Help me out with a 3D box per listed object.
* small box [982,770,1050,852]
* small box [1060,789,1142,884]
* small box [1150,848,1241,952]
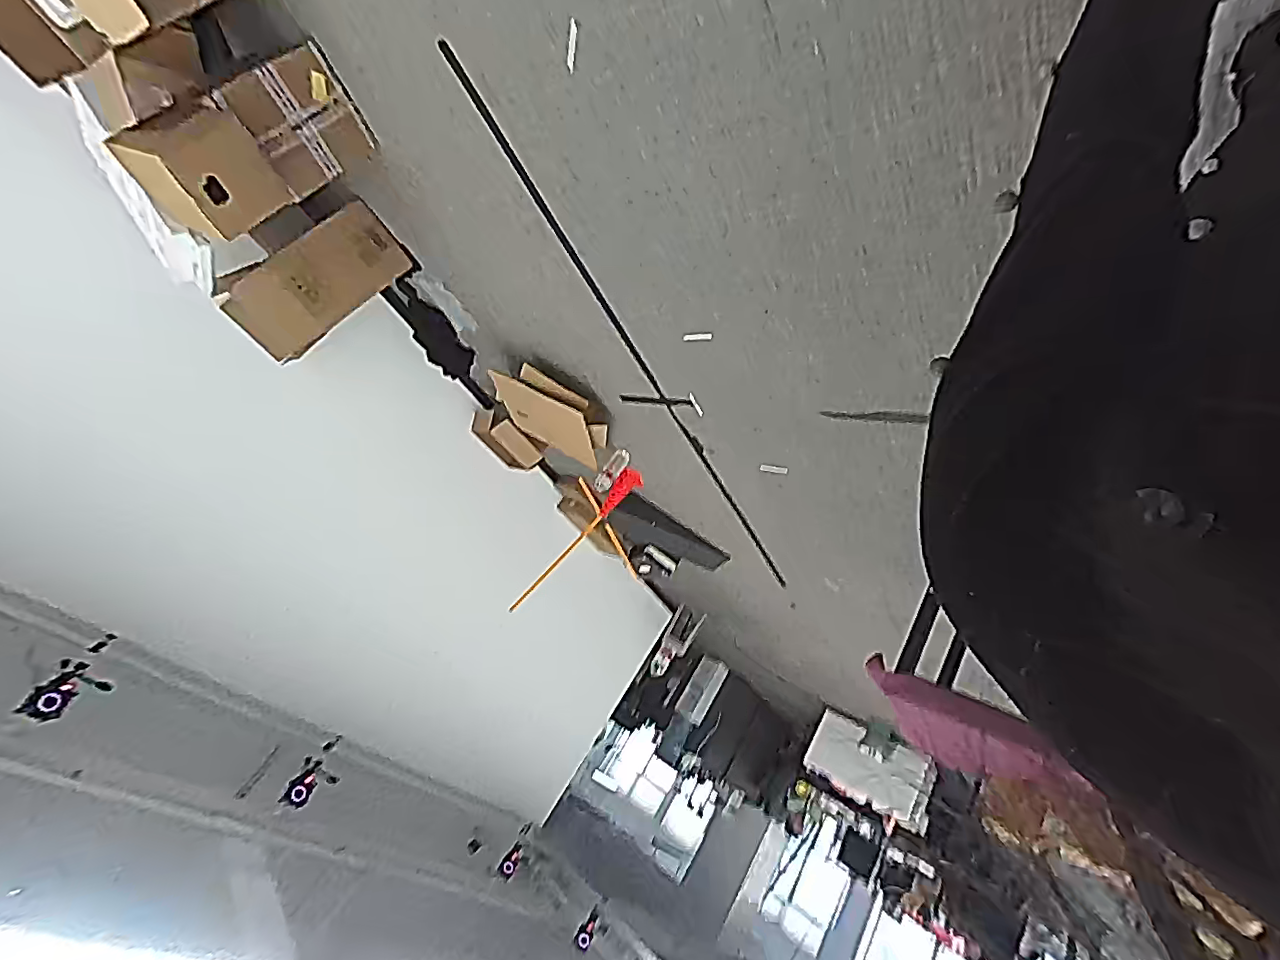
[{"bbox_3d":[1.349,1.181,1.935,0.168,0.176,0.179,11,147,45],"label":"small box"},{"bbox_3d":[1.405,1.082,1.651,0.168,0.176,0.179,13,150,45],"label":"small box"},{"bbox_3d":[1.648,1.240,1.606,0.168,0.176,0.179,13,147,47],"label":"small box"}]
